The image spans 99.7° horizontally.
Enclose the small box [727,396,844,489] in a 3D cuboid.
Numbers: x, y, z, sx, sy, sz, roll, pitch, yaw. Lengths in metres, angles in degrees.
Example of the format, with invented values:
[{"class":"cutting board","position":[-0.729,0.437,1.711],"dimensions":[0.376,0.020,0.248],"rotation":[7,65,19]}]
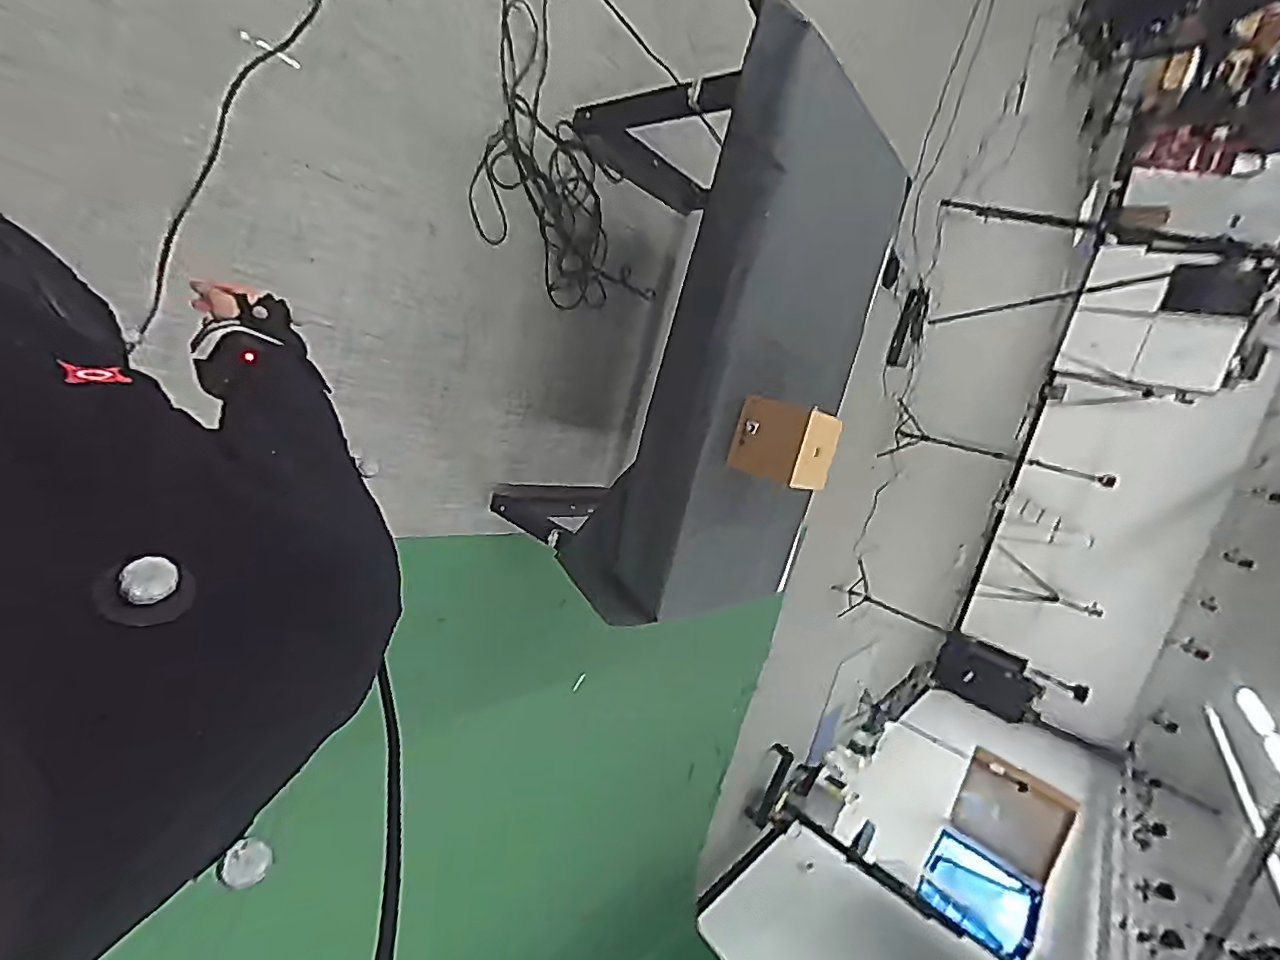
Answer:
[{"class":"small box","position":[0.325,-0.086,1.215],"dimensions":[0.179,0.176,0.168],"rotation":[5,103,-48]}]
